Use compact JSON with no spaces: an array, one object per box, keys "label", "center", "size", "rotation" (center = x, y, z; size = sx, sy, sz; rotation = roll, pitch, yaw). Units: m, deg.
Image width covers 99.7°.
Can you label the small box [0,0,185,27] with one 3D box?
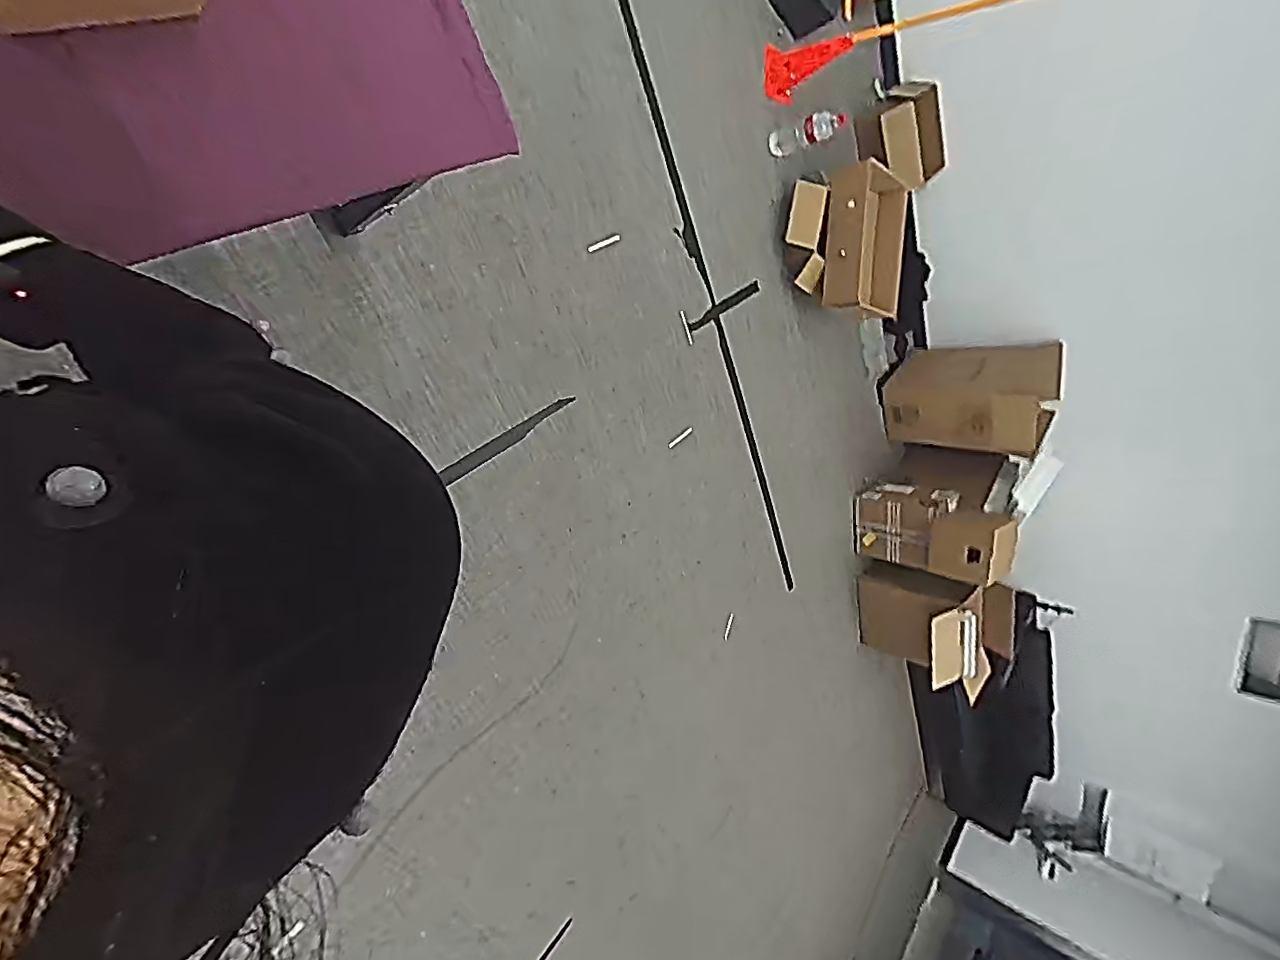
[{"label":"small box","center":[-0.499,-0.512,0.439],"size":[0.179,0.176,0.168],"rotation":[-41,121,-30]}]
